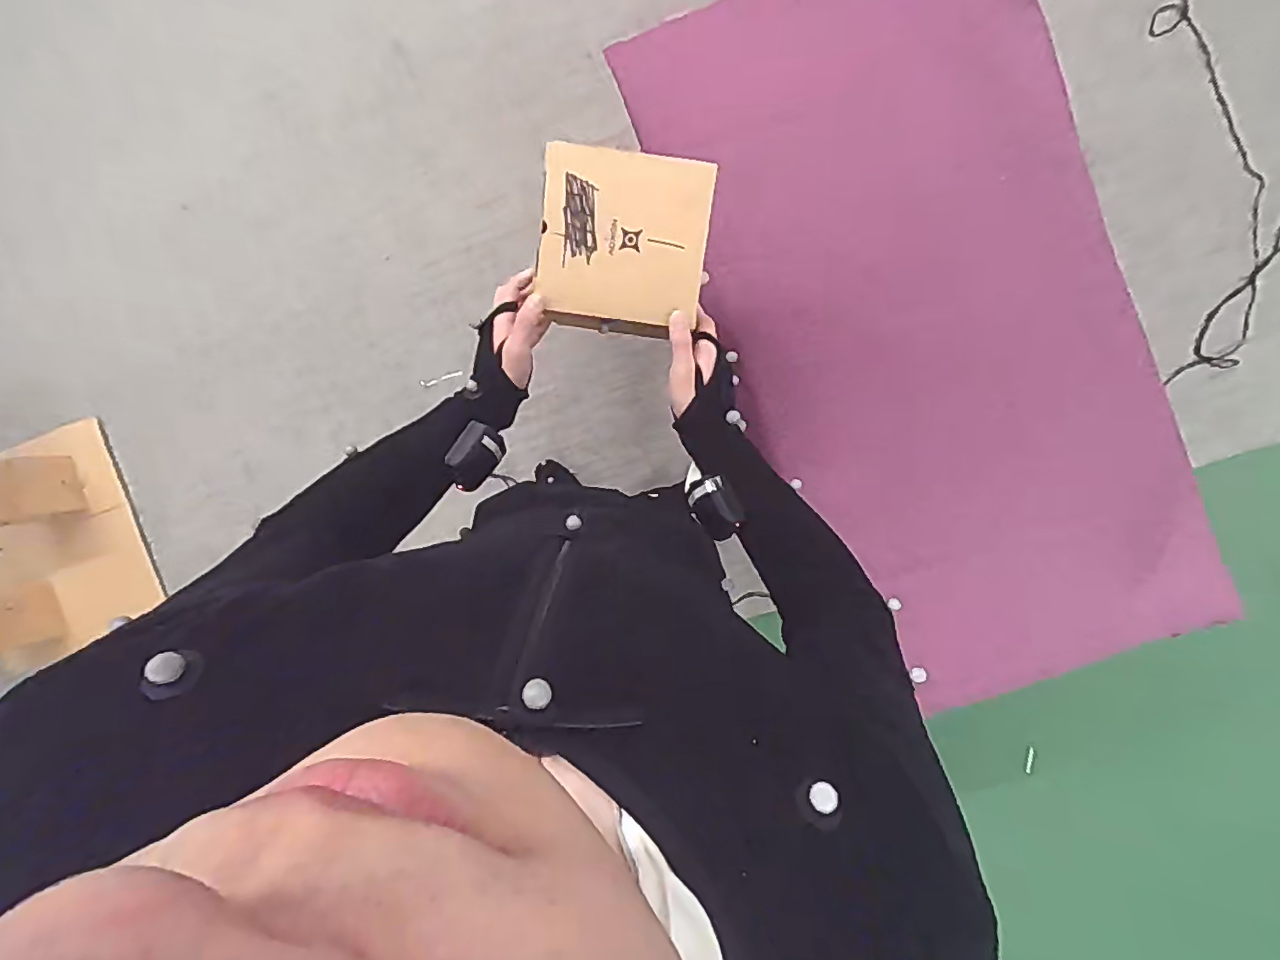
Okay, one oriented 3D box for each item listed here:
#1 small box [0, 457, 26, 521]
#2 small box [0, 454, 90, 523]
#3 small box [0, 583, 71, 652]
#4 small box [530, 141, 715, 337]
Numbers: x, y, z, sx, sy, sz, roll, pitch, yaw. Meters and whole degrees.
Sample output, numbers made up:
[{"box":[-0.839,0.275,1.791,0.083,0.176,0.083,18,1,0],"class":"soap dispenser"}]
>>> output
[{"box":[-1.850,0.040,1.468,0.168,0.176,0.179,-14,94,3],"class":"small box"},{"box":[-1.841,0.026,1.631,0.168,0.176,0.179,-16,93,4],"class":"small box"},{"box":[-1.934,0.428,1.661,0.168,0.176,0.179,-18,93,4],"class":"small box"},{"box":[-0.019,-0.265,0.635,0.179,0.176,0.168,7,101,-1],"class":"small box"}]
